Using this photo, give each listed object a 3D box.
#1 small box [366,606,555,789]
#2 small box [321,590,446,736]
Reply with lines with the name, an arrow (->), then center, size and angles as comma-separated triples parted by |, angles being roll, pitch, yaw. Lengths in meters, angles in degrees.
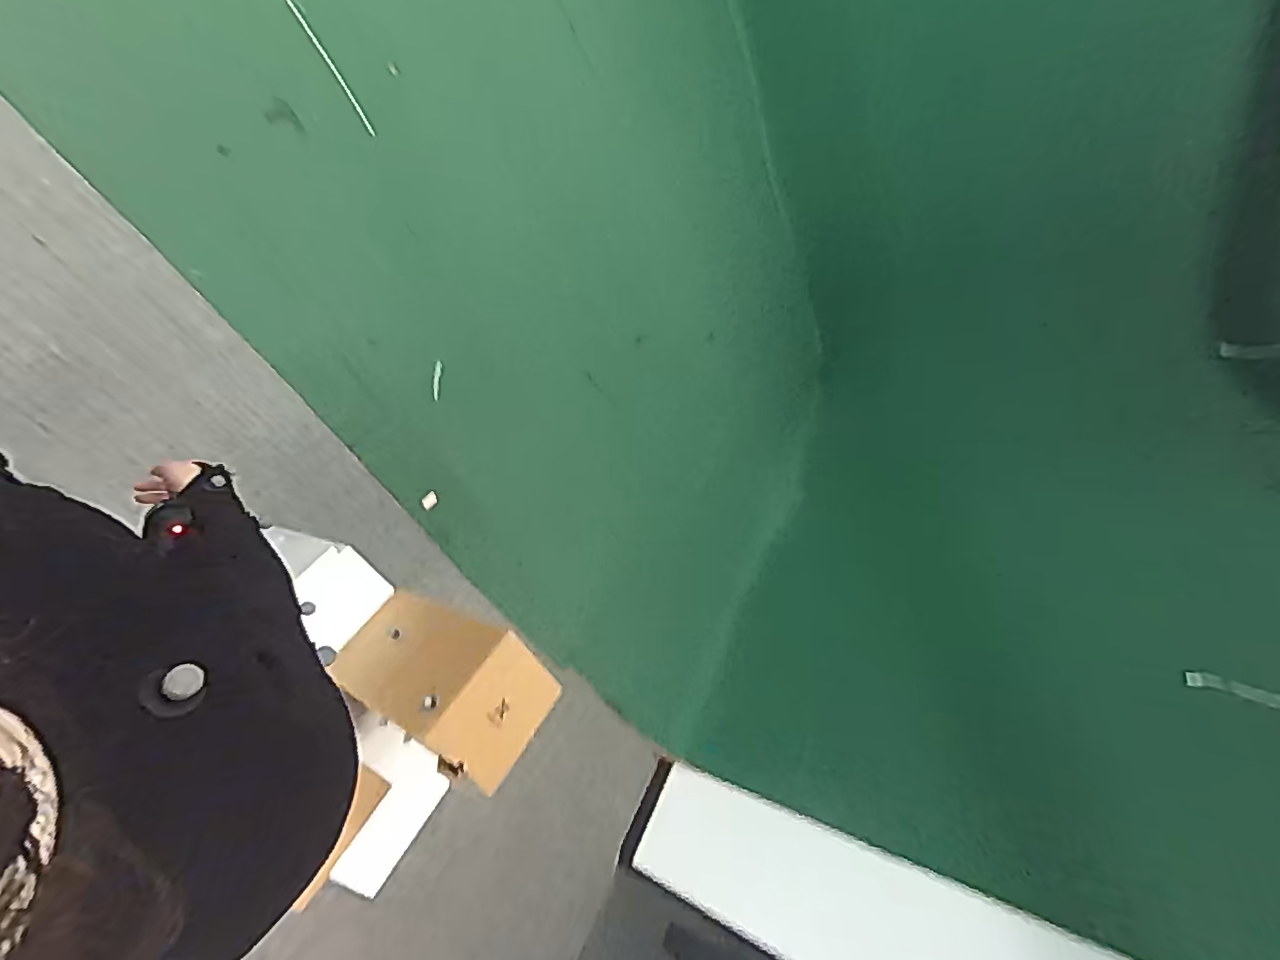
small box -> -0.269, 0.317, 0.820 | 0.179, 0.176, 0.168 | -52, 131, -33
small box -> -0.395, 0.310, 0.923 | 0.179, 0.176, 0.168 | -55, 132, -33
